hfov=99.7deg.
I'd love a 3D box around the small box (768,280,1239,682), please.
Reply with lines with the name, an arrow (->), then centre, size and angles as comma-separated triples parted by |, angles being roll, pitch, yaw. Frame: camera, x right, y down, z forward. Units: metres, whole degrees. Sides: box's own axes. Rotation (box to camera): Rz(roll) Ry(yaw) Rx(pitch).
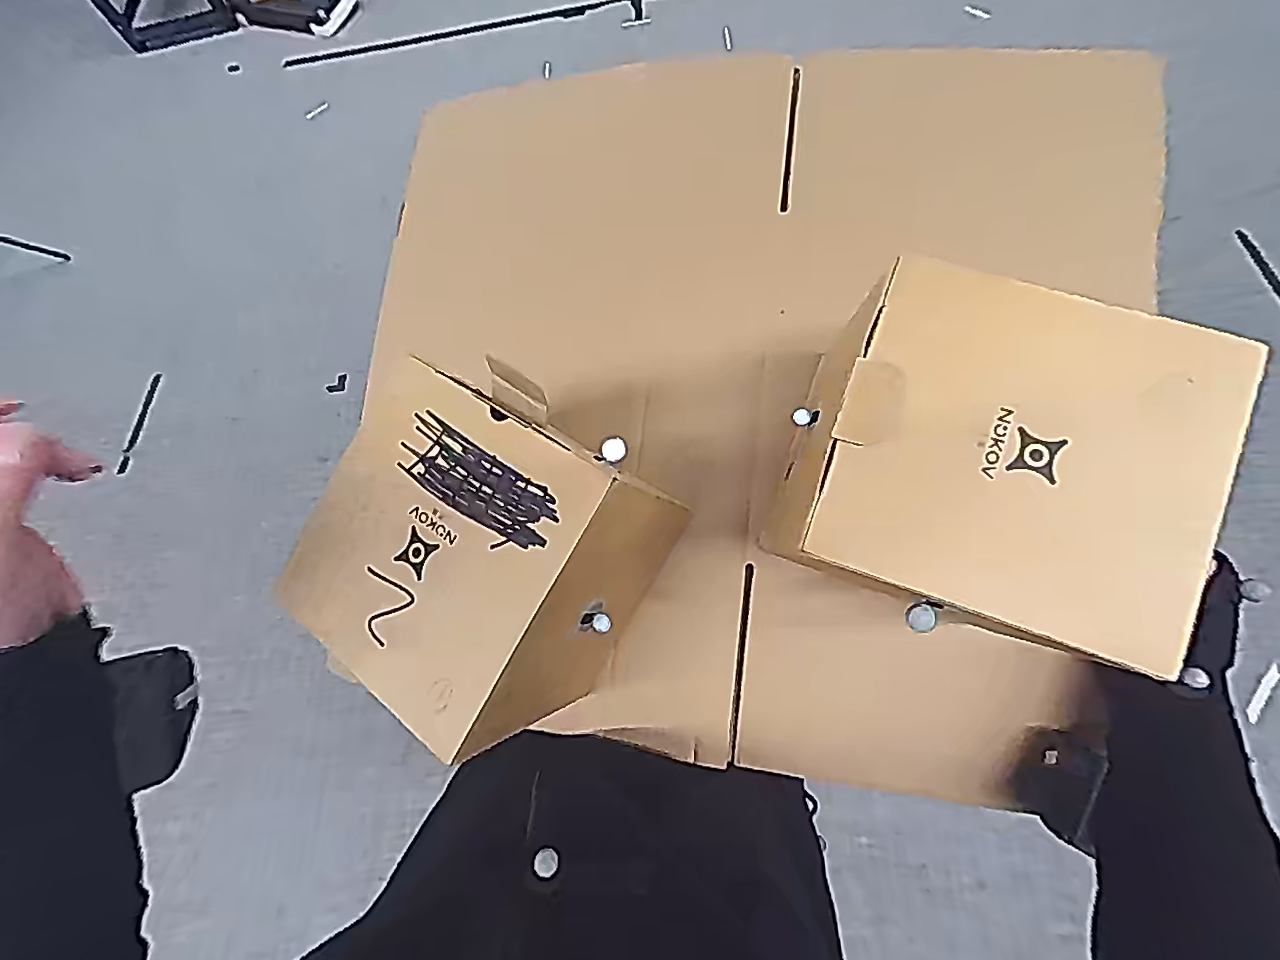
small box -> 0.198, 0.002, 0.353 | 0.179, 0.176, 0.168 | 19, 86, 9
